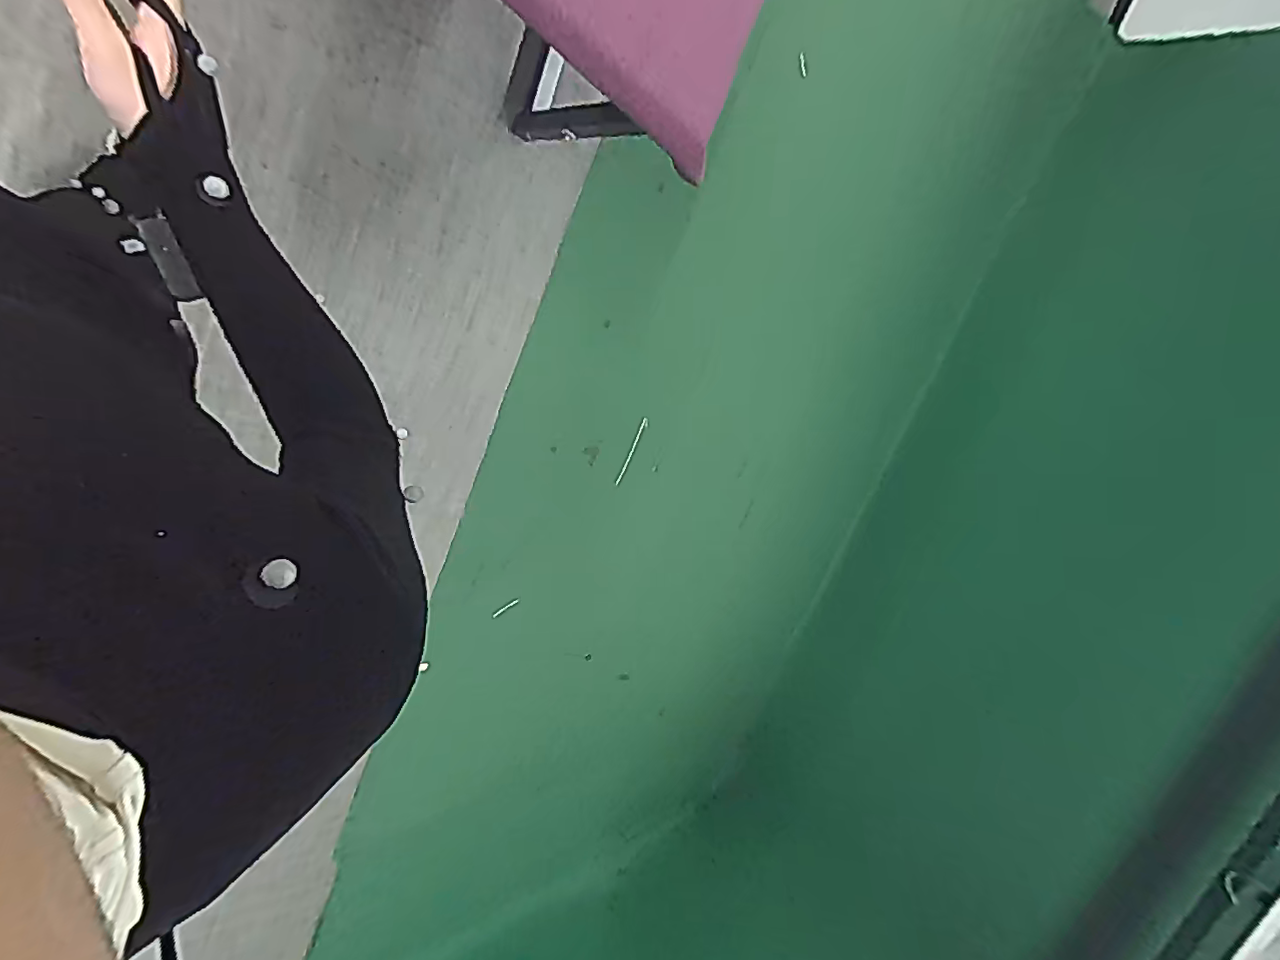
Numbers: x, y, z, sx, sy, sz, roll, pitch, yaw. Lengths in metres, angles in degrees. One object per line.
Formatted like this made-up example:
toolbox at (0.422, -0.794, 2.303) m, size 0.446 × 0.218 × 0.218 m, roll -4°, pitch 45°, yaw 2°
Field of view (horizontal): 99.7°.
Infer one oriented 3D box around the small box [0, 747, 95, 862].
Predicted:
small box at (-1.506, 0.805, 1.351) m, size 0.179 × 0.176 × 0.168 m, roll 13°, pitch 105°, yaw -47°
